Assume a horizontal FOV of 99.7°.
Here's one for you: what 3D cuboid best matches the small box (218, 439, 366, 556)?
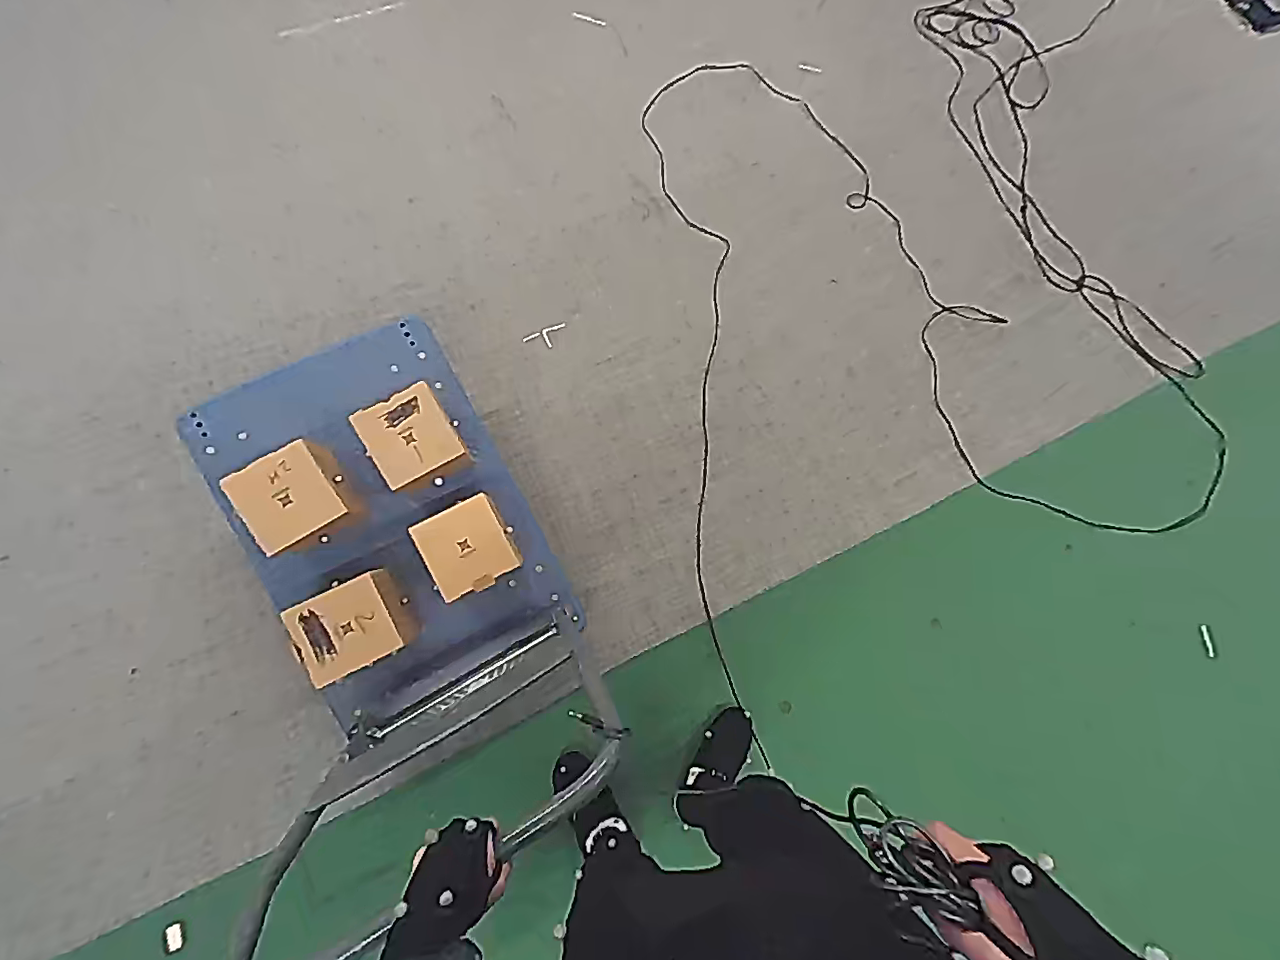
[{"bbox_3d":[-0.705,0.038,1.121,0.168,0.176,0.179,-32,92,-13],"label":"small box"}]

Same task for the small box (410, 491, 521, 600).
[{"bbox_3d":[-0.373,0.140,1.182,0.168,0.176,0.179,-28,92,-12],"label":"small box"}]

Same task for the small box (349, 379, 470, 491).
[{"bbox_3d":[-0.489,-0.089,1.176,0.168,0.176,0.179,-30,92,-12],"label":"small box"}]
